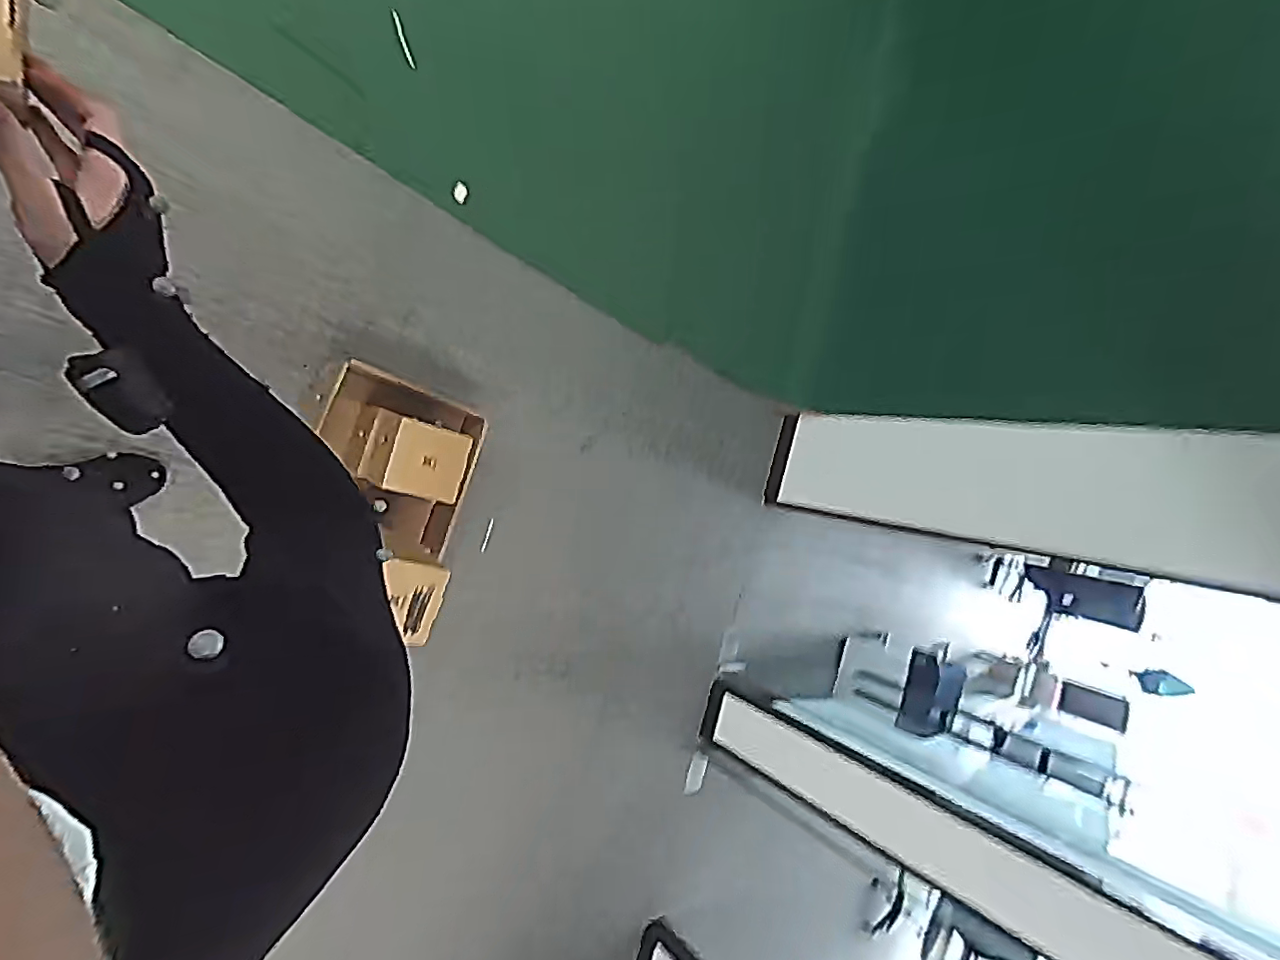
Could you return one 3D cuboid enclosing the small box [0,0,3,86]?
[{"bbox_3d":[-0.477,-0.335,0.289,0.179,0.176,0.168,-1,105,-48],"label":"small box"}]

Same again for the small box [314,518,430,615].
[{"bbox_3d":[-0.636,0.199,1.273,0.179,0.176,0.168,28,80,-41],"label":"small box"}]

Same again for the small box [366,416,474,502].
[{"bbox_3d":[-0.539,-0.054,1.311,0.179,0.176,0.168,18,86,-42],"label":"small box"}]
